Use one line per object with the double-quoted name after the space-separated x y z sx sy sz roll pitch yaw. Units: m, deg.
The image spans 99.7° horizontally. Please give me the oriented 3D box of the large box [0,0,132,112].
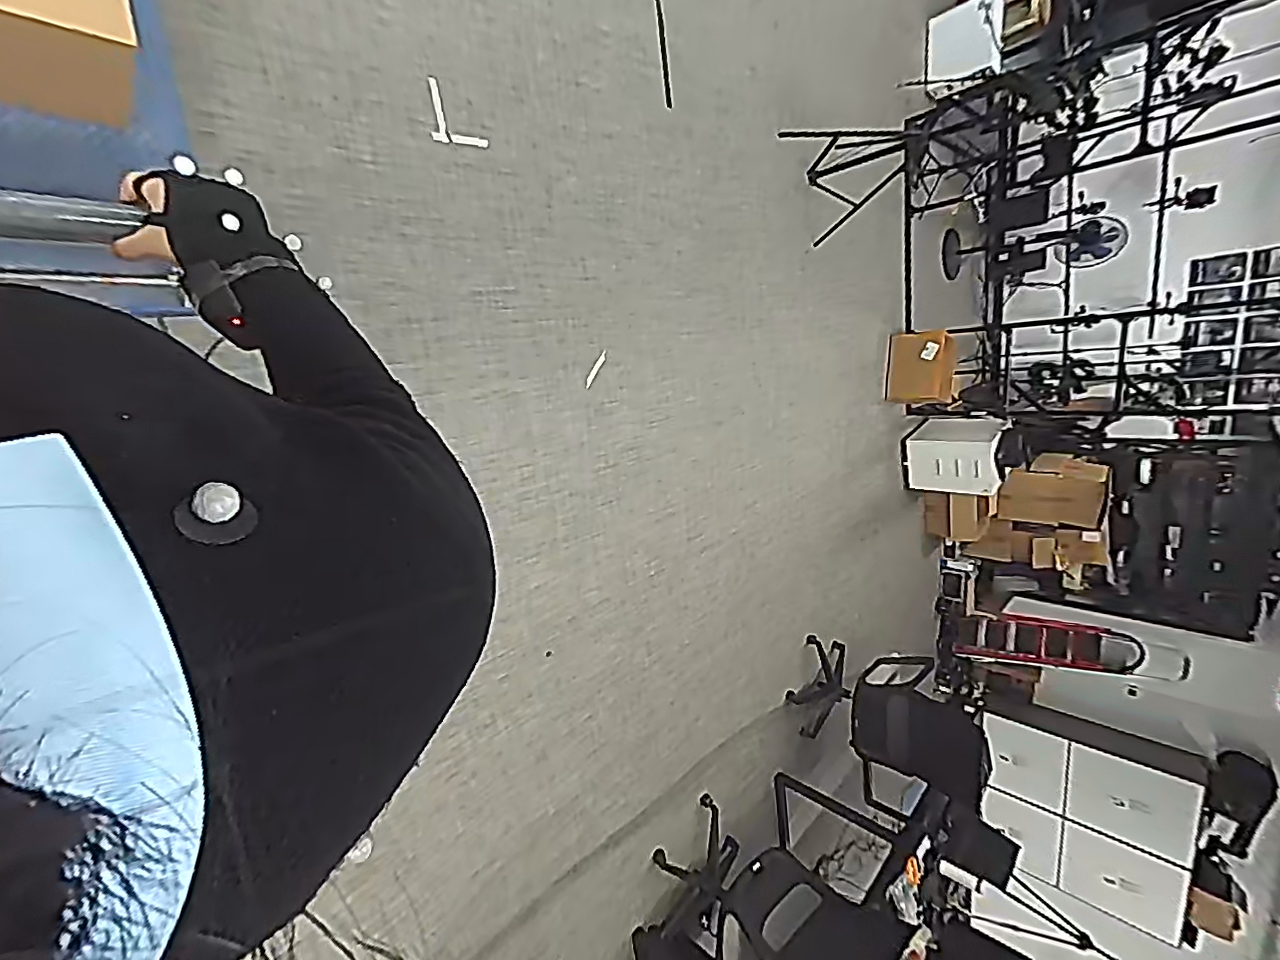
-0.956 -0.738 0.687 0.408 0.320 0.320 -14 104 -42 "large box"
